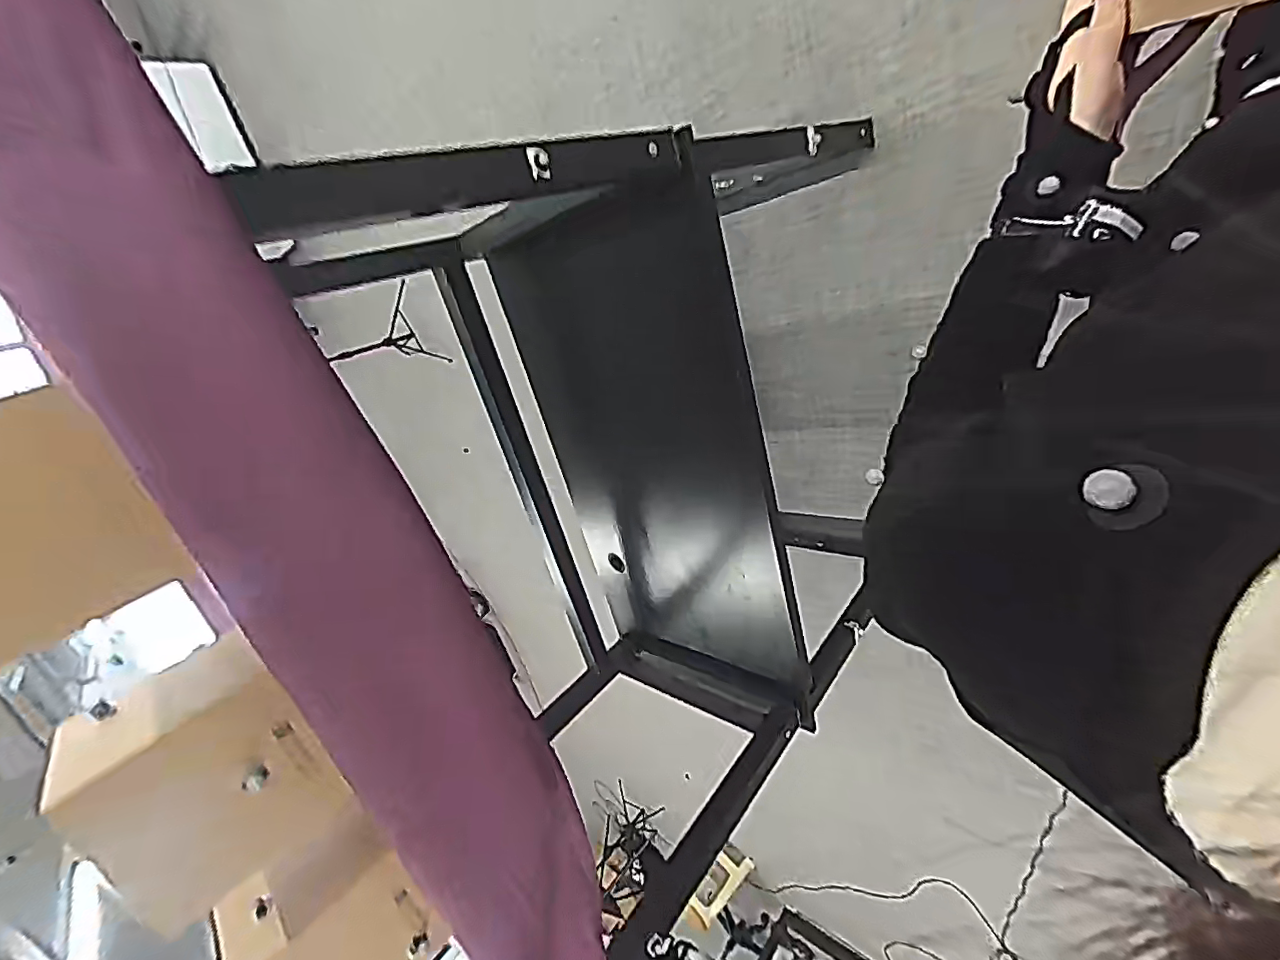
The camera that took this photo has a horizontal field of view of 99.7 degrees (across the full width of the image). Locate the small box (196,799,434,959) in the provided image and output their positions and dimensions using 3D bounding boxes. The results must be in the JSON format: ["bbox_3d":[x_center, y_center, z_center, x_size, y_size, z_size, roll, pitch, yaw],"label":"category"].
[{"bbox_3d":[-0.369,0.521,0.632,0.179,0.176,0.168,3,118,46],"label":"small box"}]

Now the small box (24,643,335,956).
[{"bbox_3d":[-0.437,0.289,0.536,0.179,0.176,0.168,3,119,45],"label":"small box"}]

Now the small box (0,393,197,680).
[{"bbox_3d":[-0.501,0.038,0.425,0.168,0.176,0.179,9,123,44],"label":"small box"}]
